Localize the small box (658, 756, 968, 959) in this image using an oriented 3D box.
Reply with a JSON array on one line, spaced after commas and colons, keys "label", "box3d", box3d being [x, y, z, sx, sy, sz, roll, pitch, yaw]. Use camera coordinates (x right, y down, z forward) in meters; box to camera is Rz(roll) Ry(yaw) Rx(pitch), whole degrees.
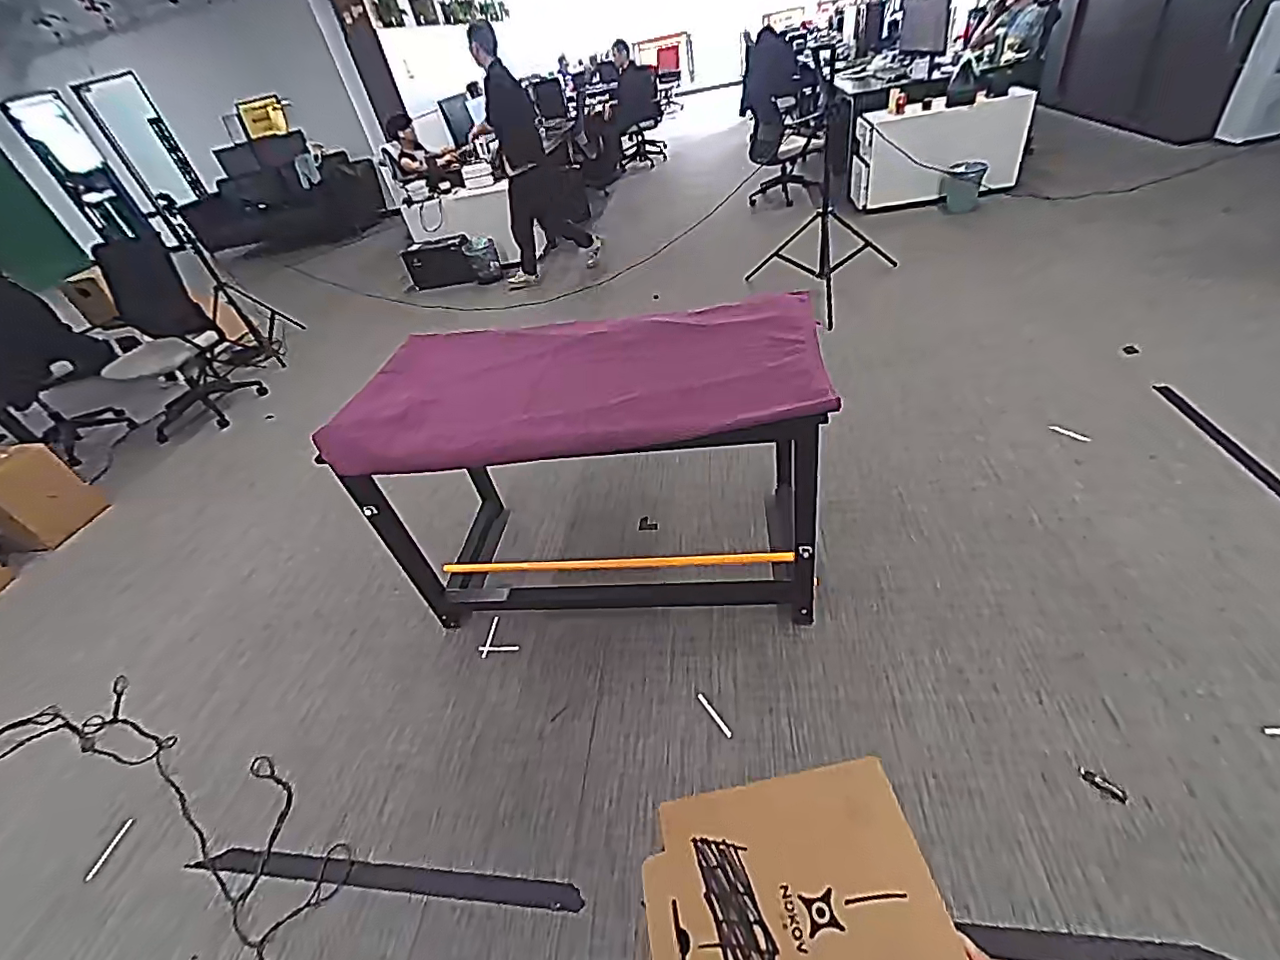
[{"label": "small box", "box3d": [0.121, 0.342, 0.412, 0.179, 0.176, 0.168, -12, 43, -2]}]
